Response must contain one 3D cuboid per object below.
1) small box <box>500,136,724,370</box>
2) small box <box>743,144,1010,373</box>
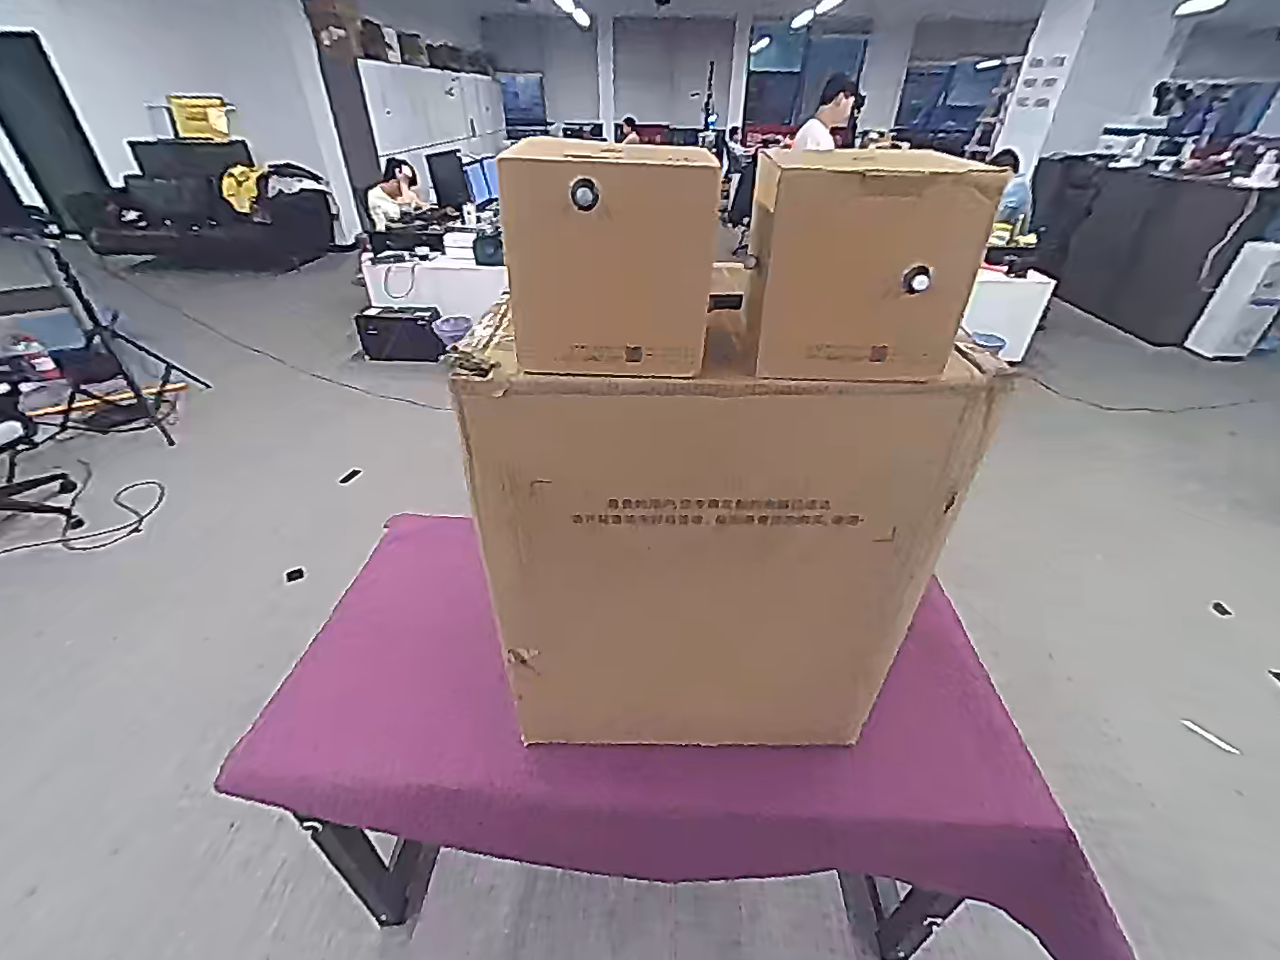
[{"bbox_3d":[-0.021,-0.214,0.500,0.168,0.176,0.179,1,34,0],"label":"small box"},{"bbox_3d":[0.191,-0.208,0.501,0.168,0.176,0.179,3,34,3],"label":"small box"}]
